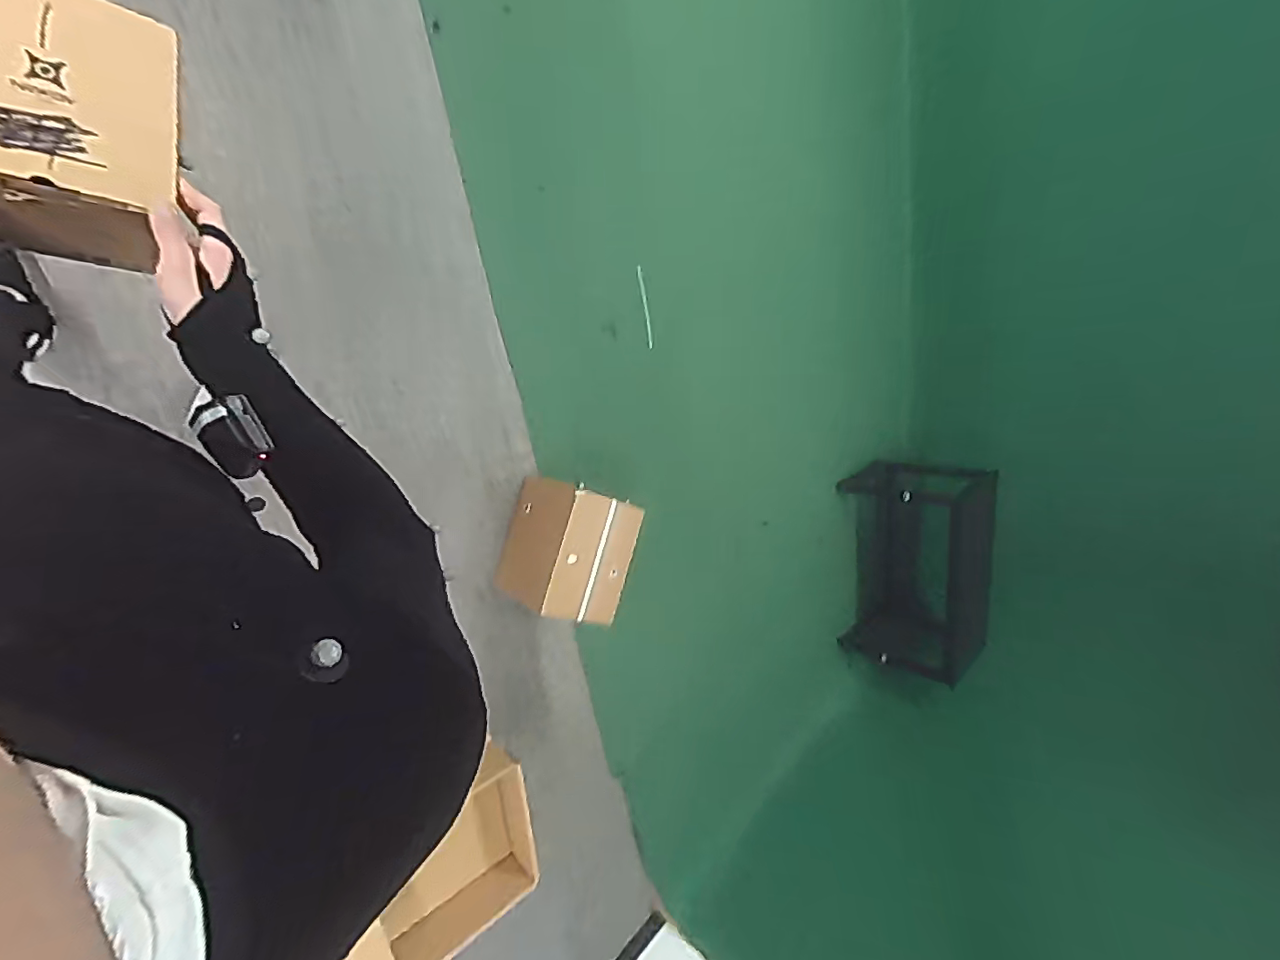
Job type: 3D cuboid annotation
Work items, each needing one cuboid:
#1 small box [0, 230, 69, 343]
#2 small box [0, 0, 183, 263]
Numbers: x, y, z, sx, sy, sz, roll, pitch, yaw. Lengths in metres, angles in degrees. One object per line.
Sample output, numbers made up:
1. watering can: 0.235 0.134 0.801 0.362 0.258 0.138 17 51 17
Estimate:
1. small box: -1.204 -0.369 0.999 0.168 0.176 0.179 19 85 -39
2. small box: -0.527 -0.323 0.492 0.168 0.176 0.179 0 88 -39
